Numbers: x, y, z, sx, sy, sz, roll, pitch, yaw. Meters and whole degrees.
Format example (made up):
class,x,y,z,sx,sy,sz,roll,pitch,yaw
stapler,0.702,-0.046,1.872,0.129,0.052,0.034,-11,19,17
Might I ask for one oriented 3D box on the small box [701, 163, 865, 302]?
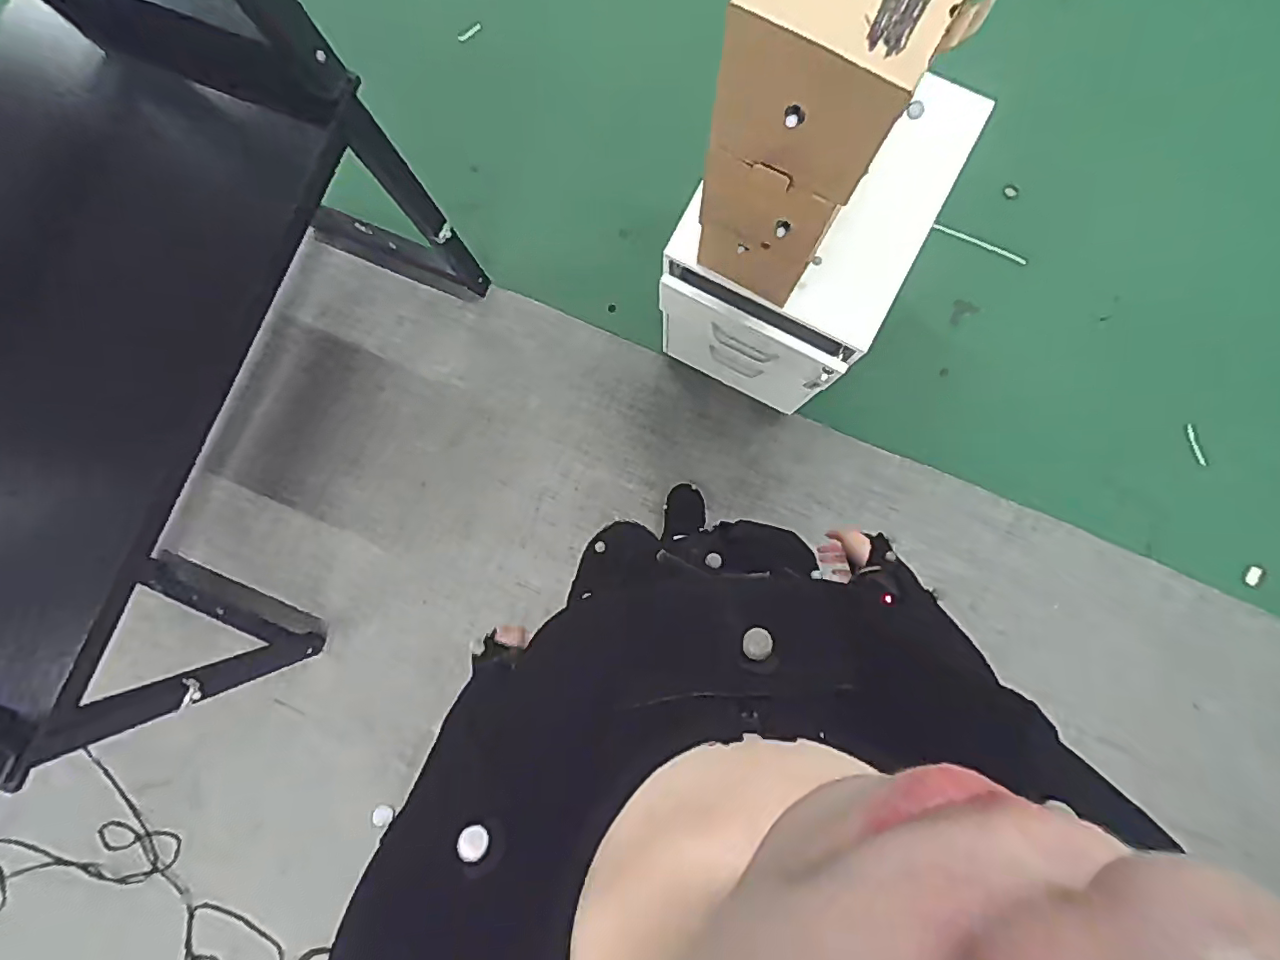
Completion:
class,x,y,z,sx,sy,sz,roll,pitch,yaw
small box,0.210,-0.412,0.851,0.179,0.176,0.168,30,86,4

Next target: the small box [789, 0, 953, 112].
class,x,y,z,sx,sy,sz,roll,pitch,yaw
small box,0.309,-0.632,0.703,0.179,0.176,0.168,31,87,3

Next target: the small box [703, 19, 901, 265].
class,x,y,z,sx,sy,sz,roll,pitch,yaw
small box,0.190,-0.411,0.690,0.168,0.176,0.179,27,86,3
